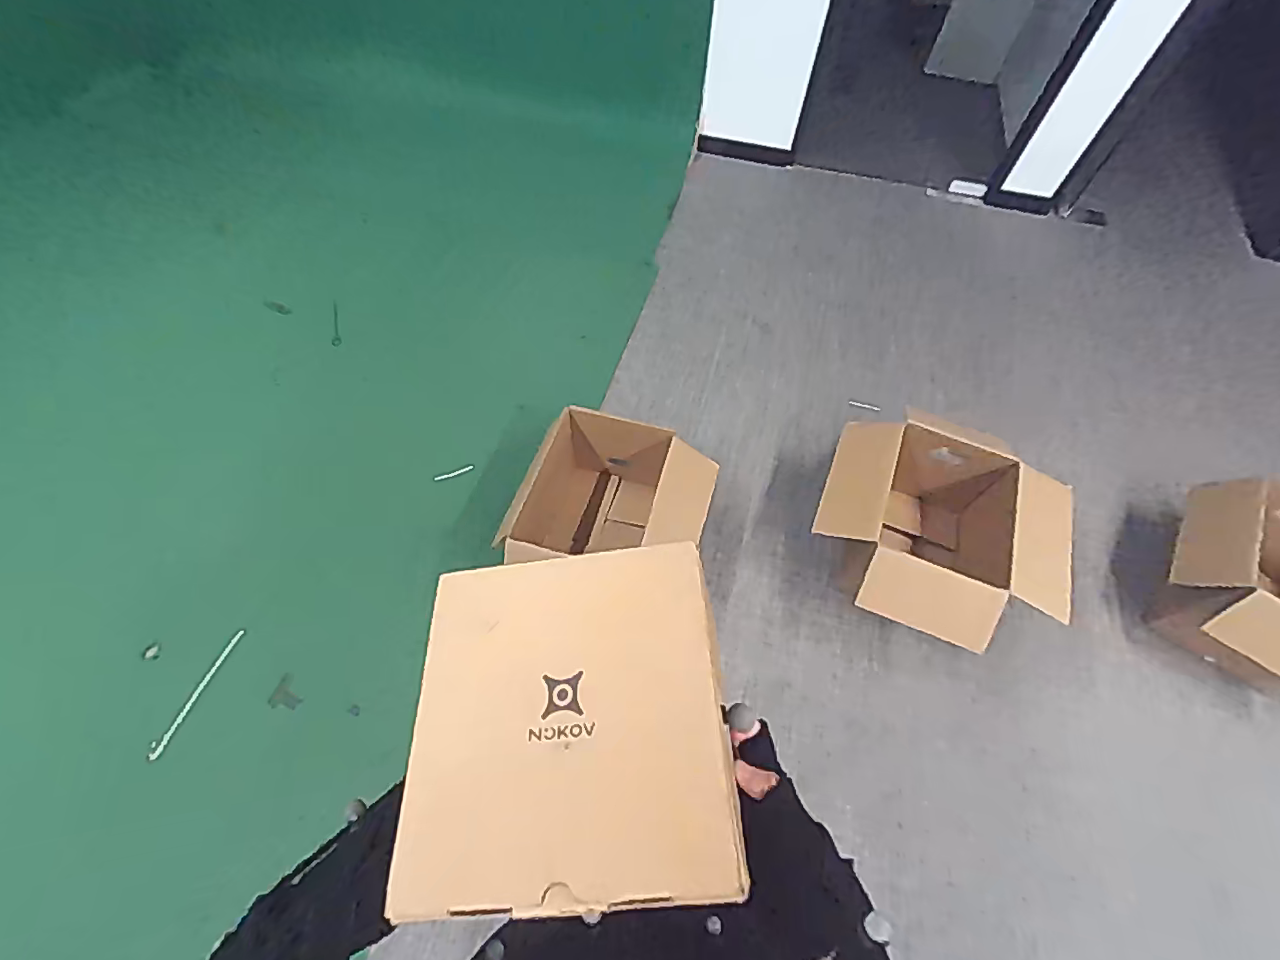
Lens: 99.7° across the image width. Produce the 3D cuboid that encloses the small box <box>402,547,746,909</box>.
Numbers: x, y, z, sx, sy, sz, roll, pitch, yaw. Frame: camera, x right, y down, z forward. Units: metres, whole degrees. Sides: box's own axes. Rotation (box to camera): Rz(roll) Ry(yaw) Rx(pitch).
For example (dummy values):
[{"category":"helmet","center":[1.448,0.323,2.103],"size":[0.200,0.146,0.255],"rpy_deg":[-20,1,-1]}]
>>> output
[{"category":"small box","center":[-0.025,0.167,0.362],"size":[0.168,0.176,0.179],"rpy_deg":[-9,55,6]}]
